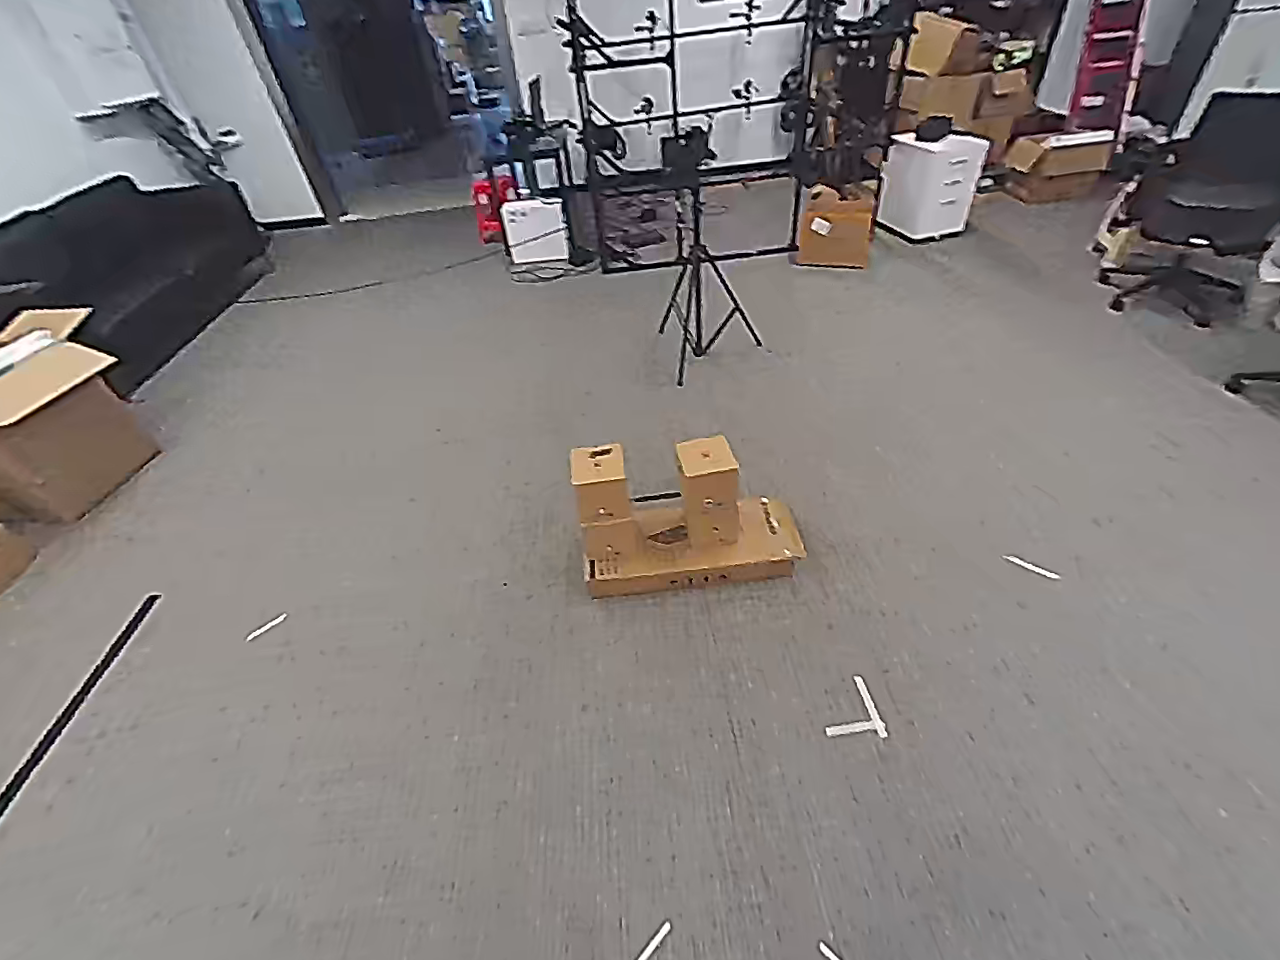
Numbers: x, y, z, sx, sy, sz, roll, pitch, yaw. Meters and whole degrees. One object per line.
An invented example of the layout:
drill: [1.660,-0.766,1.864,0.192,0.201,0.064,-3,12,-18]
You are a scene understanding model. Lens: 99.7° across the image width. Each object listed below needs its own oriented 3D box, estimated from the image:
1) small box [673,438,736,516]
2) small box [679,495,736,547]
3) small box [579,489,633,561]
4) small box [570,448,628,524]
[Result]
small box: [0.206,-0.009,1.747,0.168,0.176,0.179,-11,42,-3]
small box: [0.229,0.113,1.853,0.168,0.176,0.179,-8,42,-3]
small box: [-0.117,0.153,1.847,0.168,0.176,0.179,-7,41,-1]
small box: [-0.133,0.020,1.752,0.168,0.176,0.179,-8,41,-2]
